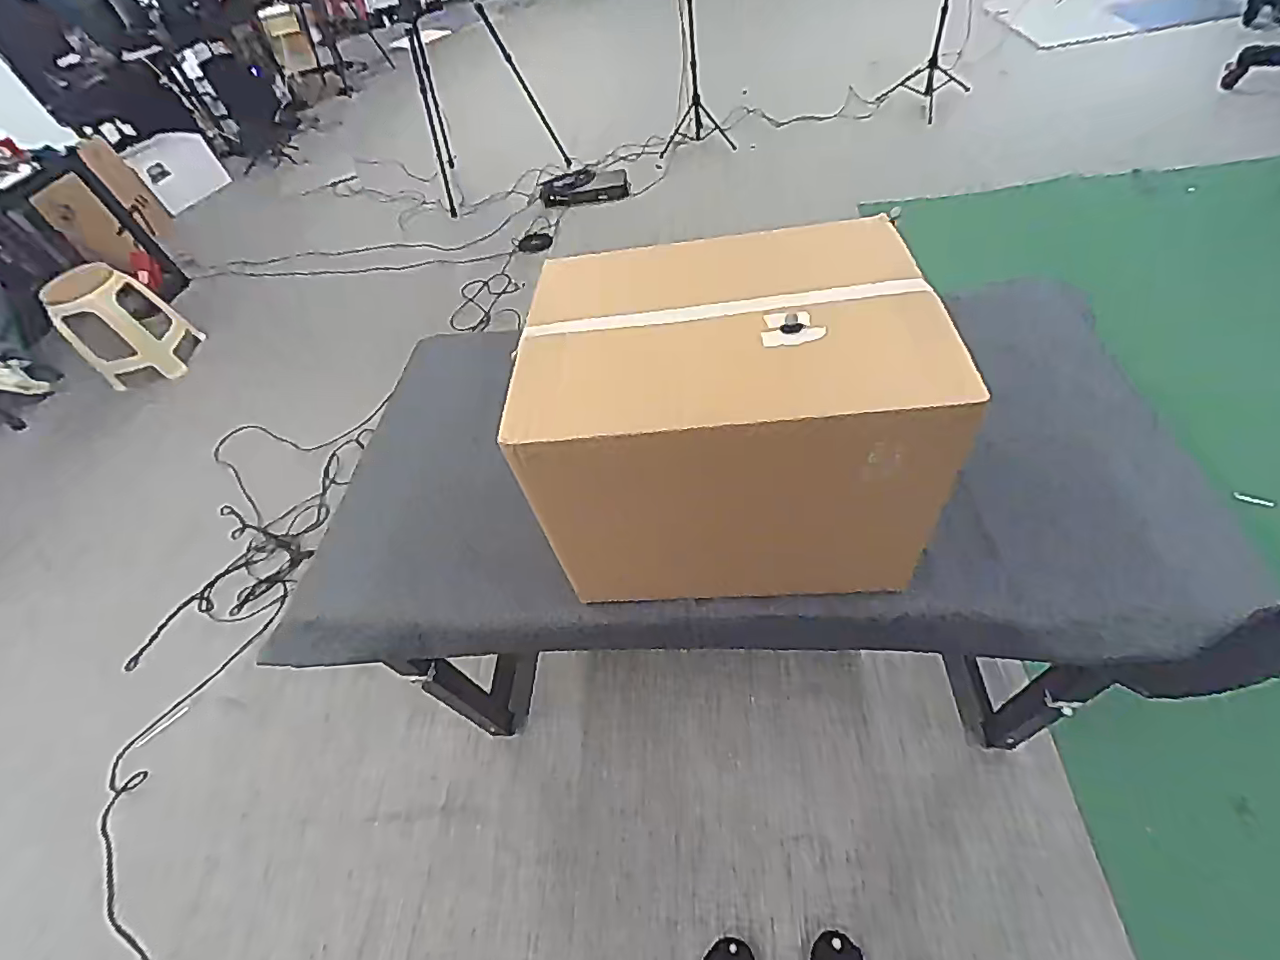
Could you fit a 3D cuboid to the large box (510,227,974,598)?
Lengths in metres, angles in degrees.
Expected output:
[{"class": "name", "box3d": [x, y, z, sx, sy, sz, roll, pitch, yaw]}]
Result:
[{"class": "large box", "box3d": [0.099, -0.069, 0.668, 0.408, 0.320, 0.320, -4, 50, 7]}]
